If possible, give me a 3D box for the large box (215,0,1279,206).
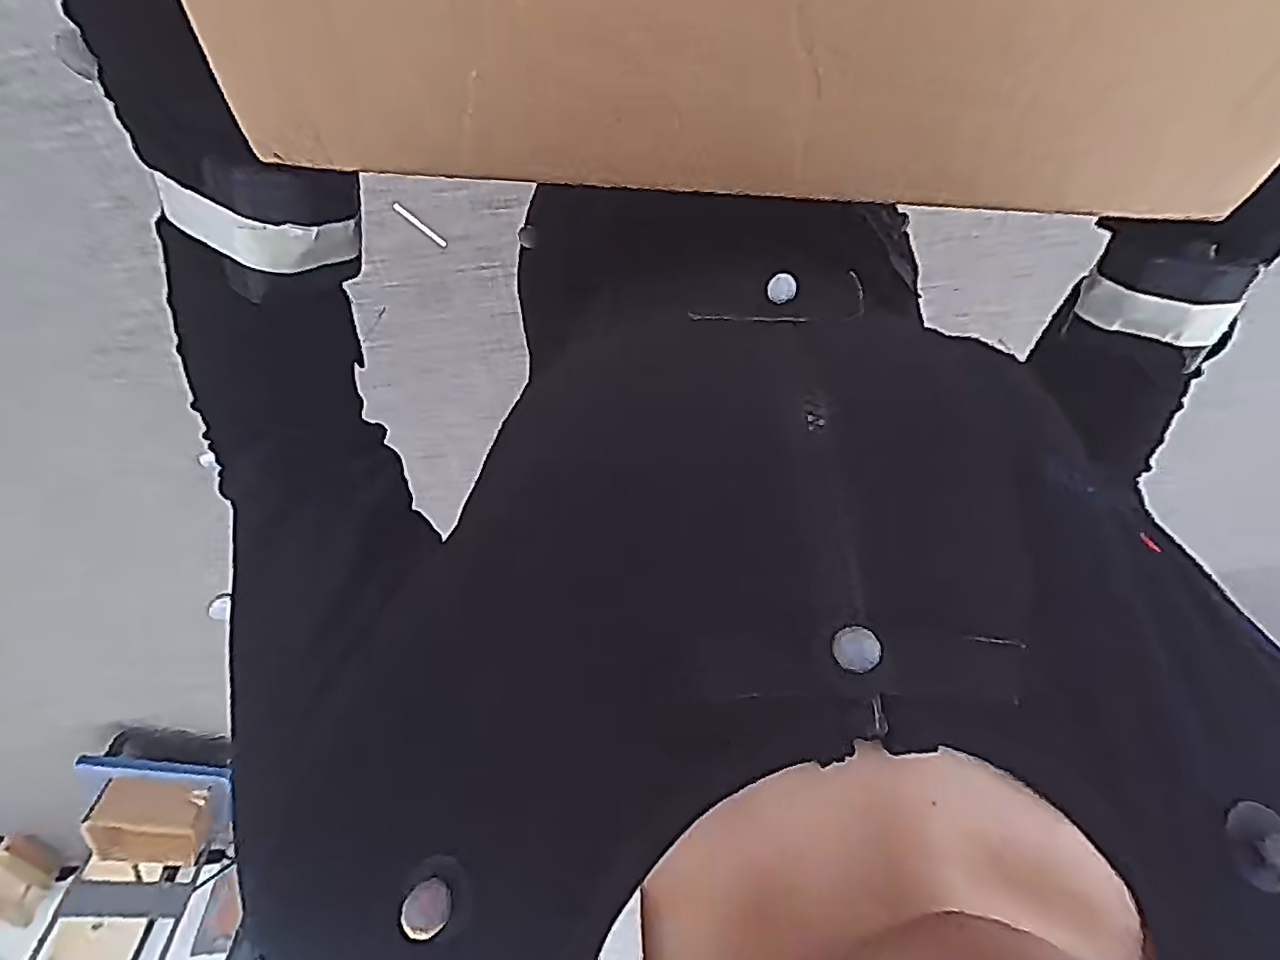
[{"bbox_3d":[0.058,-0.338,0.203,0.408,0.320,0.320,1,142,-4],"label":"large box"}]
